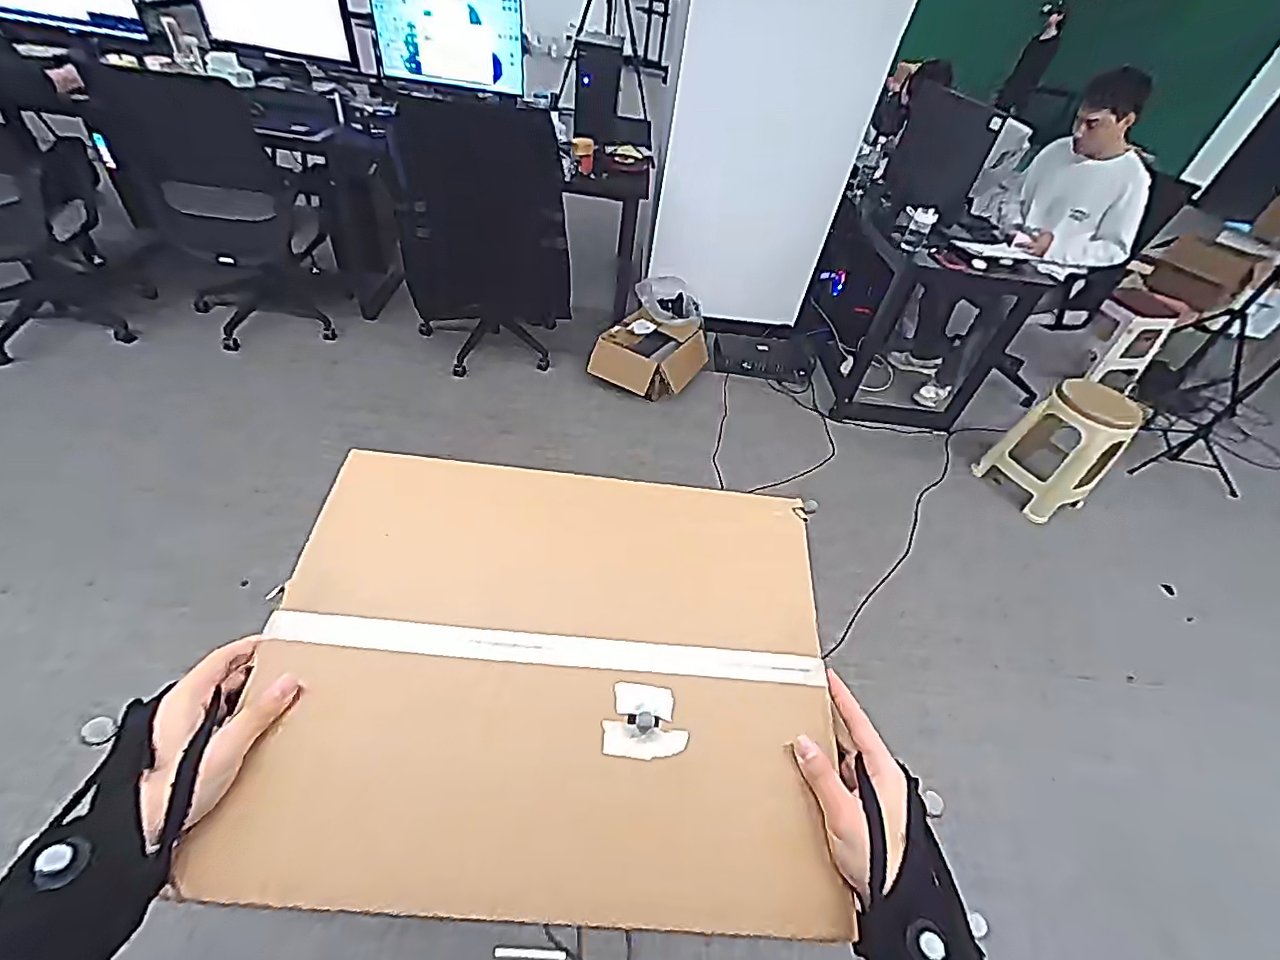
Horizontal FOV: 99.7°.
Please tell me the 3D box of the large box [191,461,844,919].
[{"bbox_3d":[-0.078,0.211,0.532,0.408,0.320,0.320,7,57,-4],"label":"large box"}]
